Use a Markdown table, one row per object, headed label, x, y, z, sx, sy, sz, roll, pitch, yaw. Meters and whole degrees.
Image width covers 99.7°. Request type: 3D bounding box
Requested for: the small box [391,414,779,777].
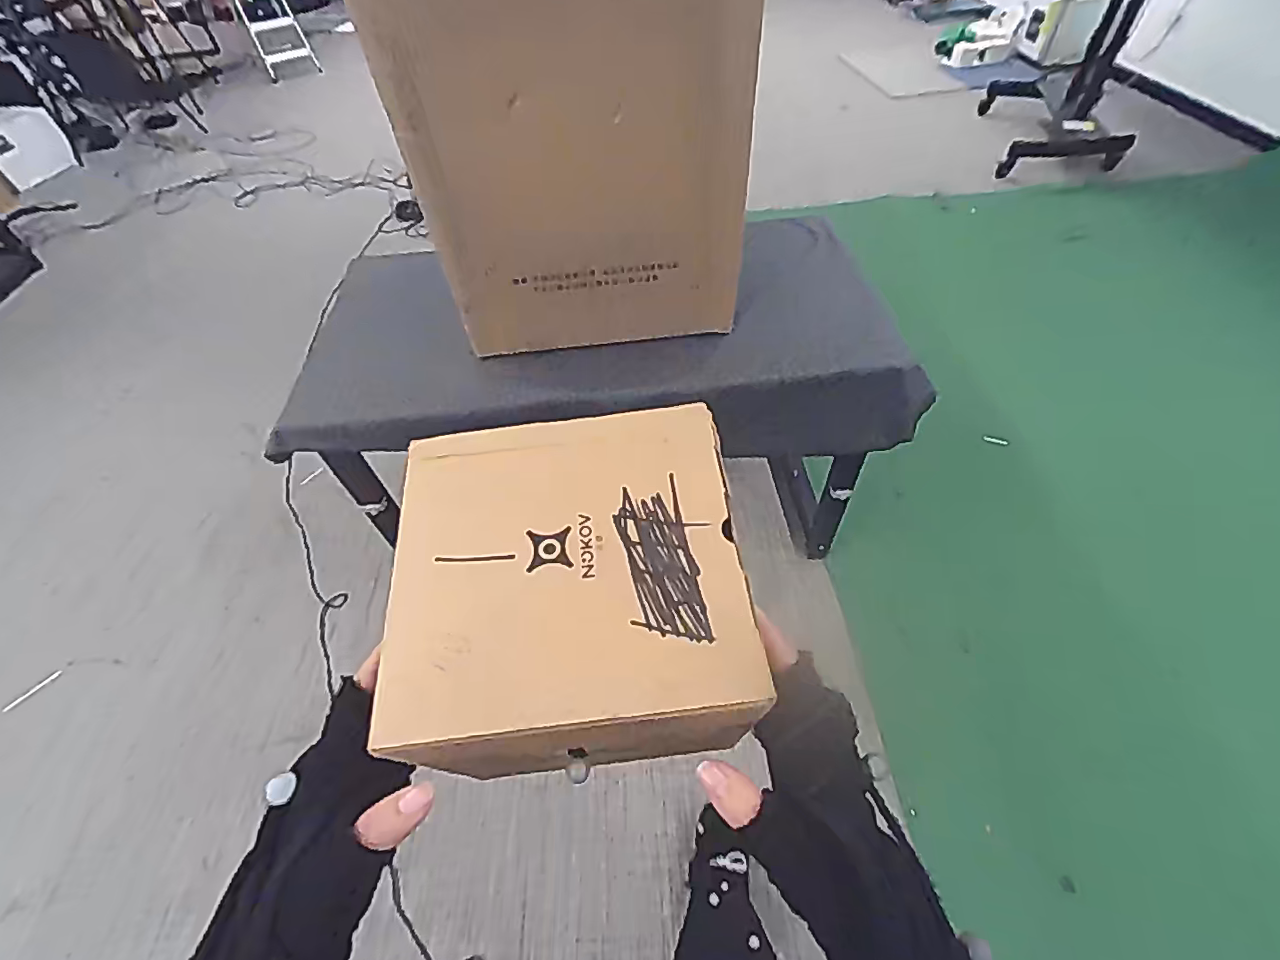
| label | x | y | z | sx | sy | sz | roll | pitch | yaw |
| --- | --- | --- | --- | --- | --- | --- | --- | --- | --- |
| small box | -0.033 | 0.082 | 0.347 | 0.179 | 0.176 | 0.168 | -8 | 58 | -4 |
